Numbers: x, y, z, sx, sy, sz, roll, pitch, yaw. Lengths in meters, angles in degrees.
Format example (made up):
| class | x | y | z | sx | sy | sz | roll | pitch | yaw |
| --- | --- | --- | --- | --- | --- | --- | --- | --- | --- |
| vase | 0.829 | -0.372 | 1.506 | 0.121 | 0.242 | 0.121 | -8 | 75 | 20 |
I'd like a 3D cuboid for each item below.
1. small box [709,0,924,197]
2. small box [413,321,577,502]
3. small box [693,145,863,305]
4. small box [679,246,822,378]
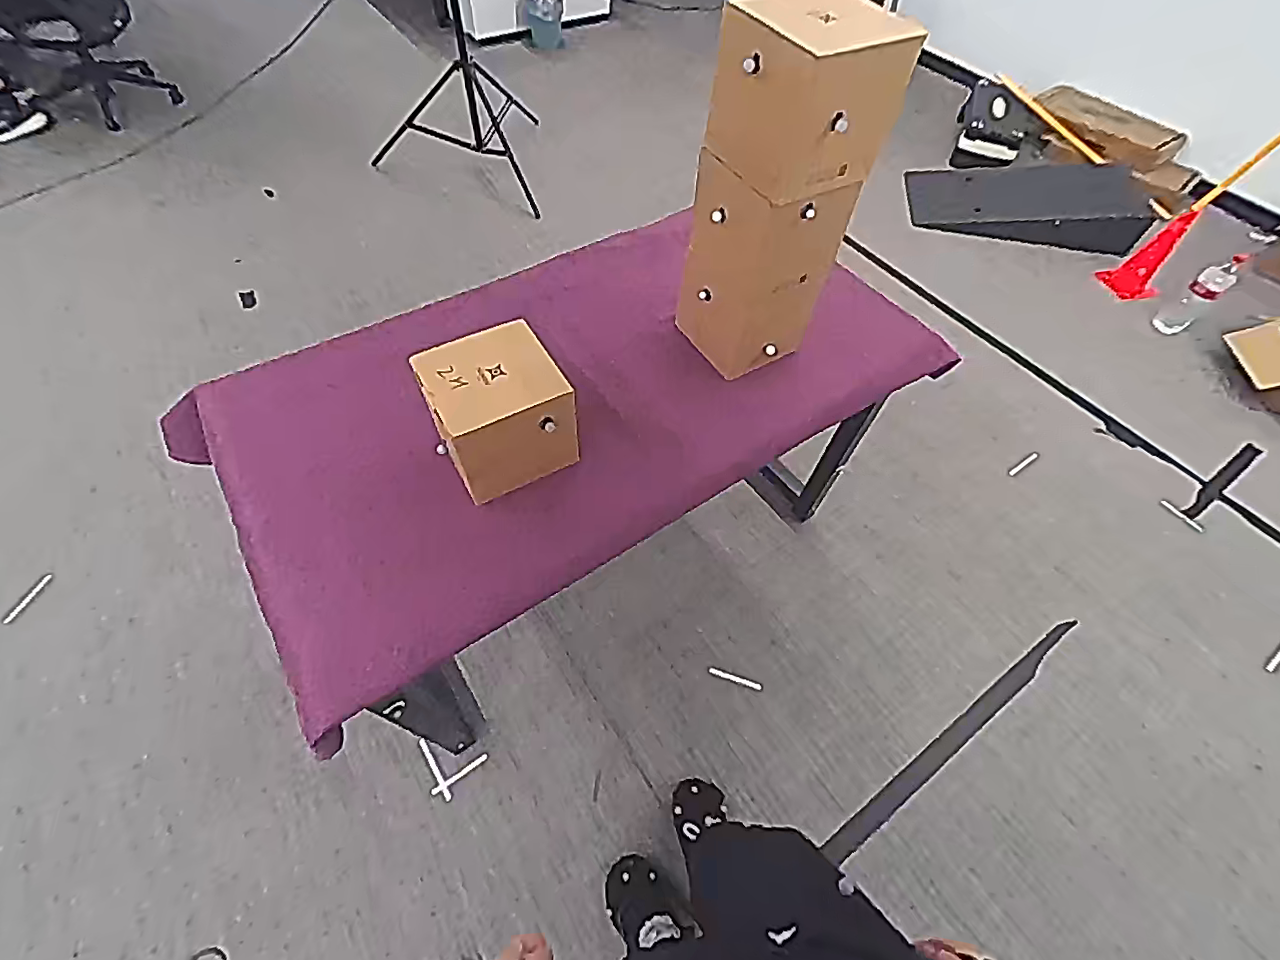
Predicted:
| class | x | y | z | sx | sy | sz | roll | pitch | yaw |
| --- | --- | --- | --- | --- | --- | --- | --- | --- | --- |
| small box | 0.207 | -0.487 | 0.690 | 0.168 | 0.176 | 0.179 | -25 | 61 | -17 |
| small box | -0.205 | -0.098 | 0.806 | 0.179 | 0.176 | 0.168 | -26 | 61 | -18 |
| small box | 0.196 | -0.403 | 0.830 | 0.168 | 0.176 | 0.179 | -25 | 61 | -17 |
| small box | 0.186 | -0.317 | 0.969 | 0.168 | 0.176 | 0.179 | -27 | 63 | -18 |
